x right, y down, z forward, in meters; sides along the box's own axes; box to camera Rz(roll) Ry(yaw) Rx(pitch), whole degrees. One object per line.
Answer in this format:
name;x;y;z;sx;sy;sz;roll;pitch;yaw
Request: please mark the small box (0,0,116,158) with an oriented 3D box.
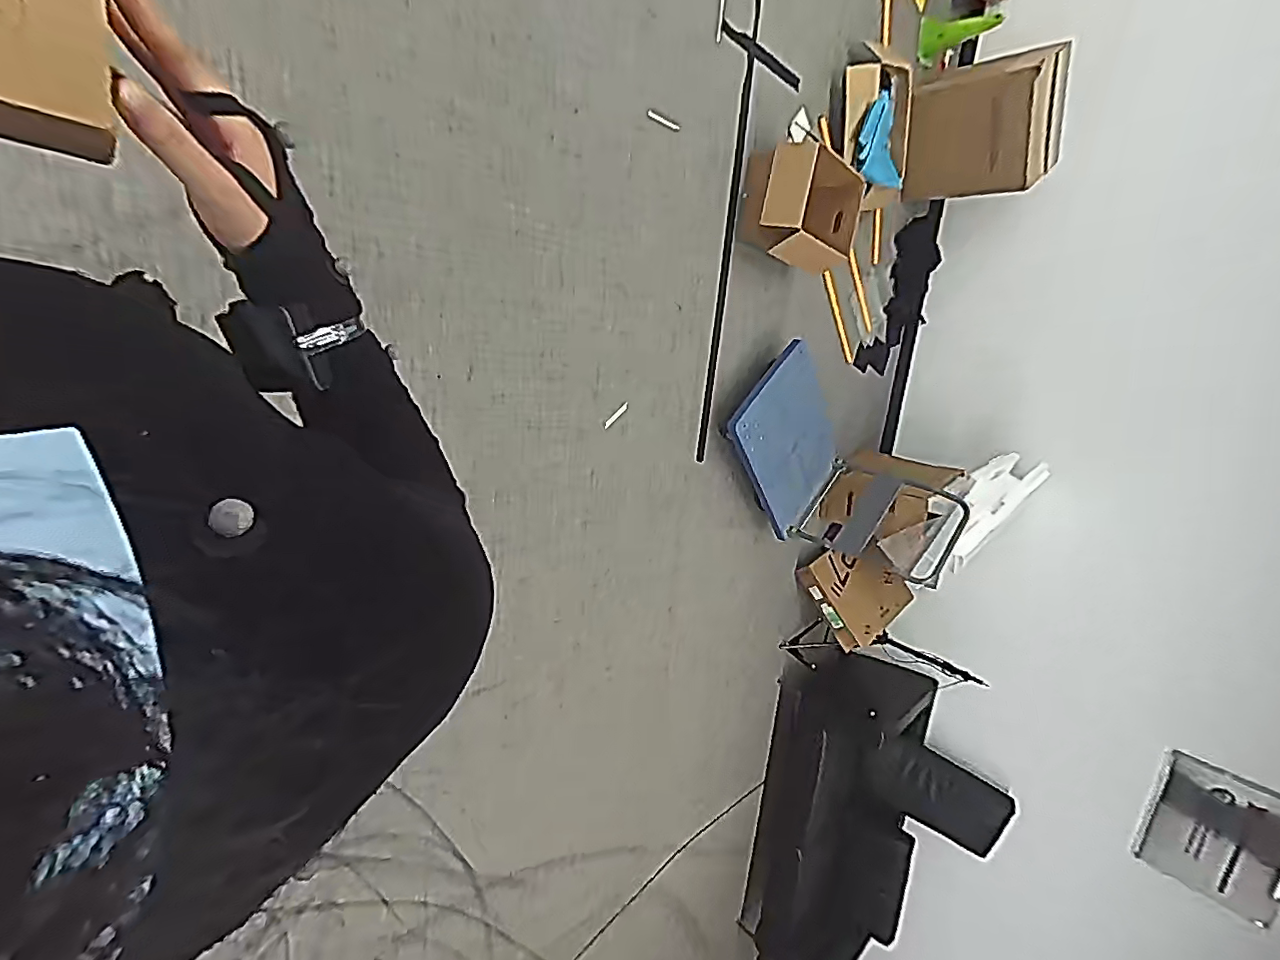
small box;-0.343;-0.264;0.233;0.168;0.176;0.179;-3;109;-45
